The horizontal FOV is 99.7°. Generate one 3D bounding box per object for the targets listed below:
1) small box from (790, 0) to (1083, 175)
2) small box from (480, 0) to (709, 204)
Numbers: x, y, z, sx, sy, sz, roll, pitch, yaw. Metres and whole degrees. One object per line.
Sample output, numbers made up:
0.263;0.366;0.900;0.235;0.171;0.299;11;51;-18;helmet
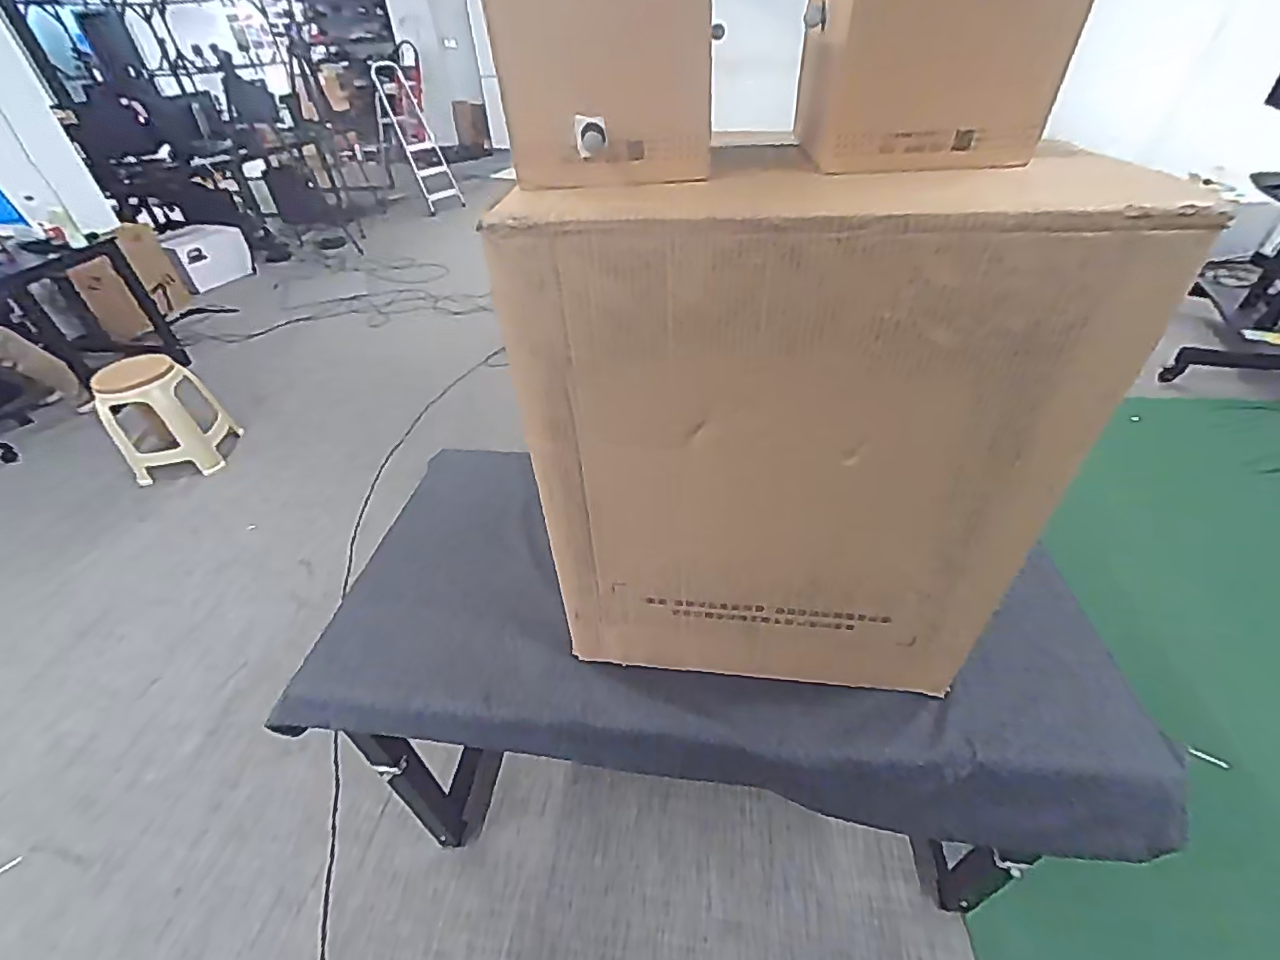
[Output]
0.227;-0.367;0.451;0.168;0.176;0.179;-1;42;5;small box
-0.026;-0.356;0.469;0.168;0.176;0.179;-3;43;6;small box
